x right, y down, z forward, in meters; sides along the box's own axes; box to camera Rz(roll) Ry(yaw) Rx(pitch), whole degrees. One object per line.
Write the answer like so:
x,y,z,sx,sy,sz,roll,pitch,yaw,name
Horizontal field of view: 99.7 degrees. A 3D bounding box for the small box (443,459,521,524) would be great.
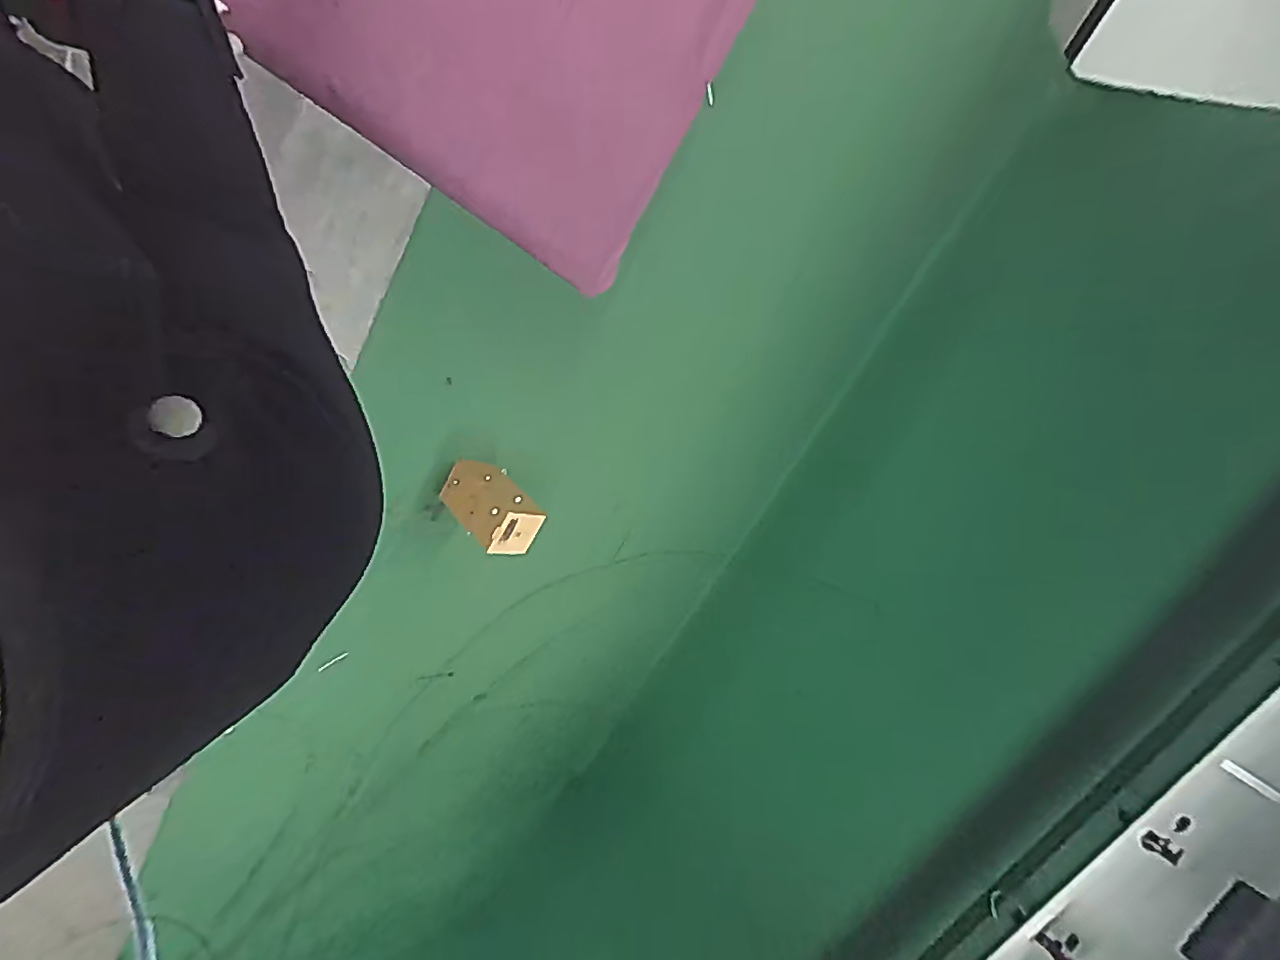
-0.568,0.042,1.938,0.179,0.176,0.168,12,113,-54,small box
